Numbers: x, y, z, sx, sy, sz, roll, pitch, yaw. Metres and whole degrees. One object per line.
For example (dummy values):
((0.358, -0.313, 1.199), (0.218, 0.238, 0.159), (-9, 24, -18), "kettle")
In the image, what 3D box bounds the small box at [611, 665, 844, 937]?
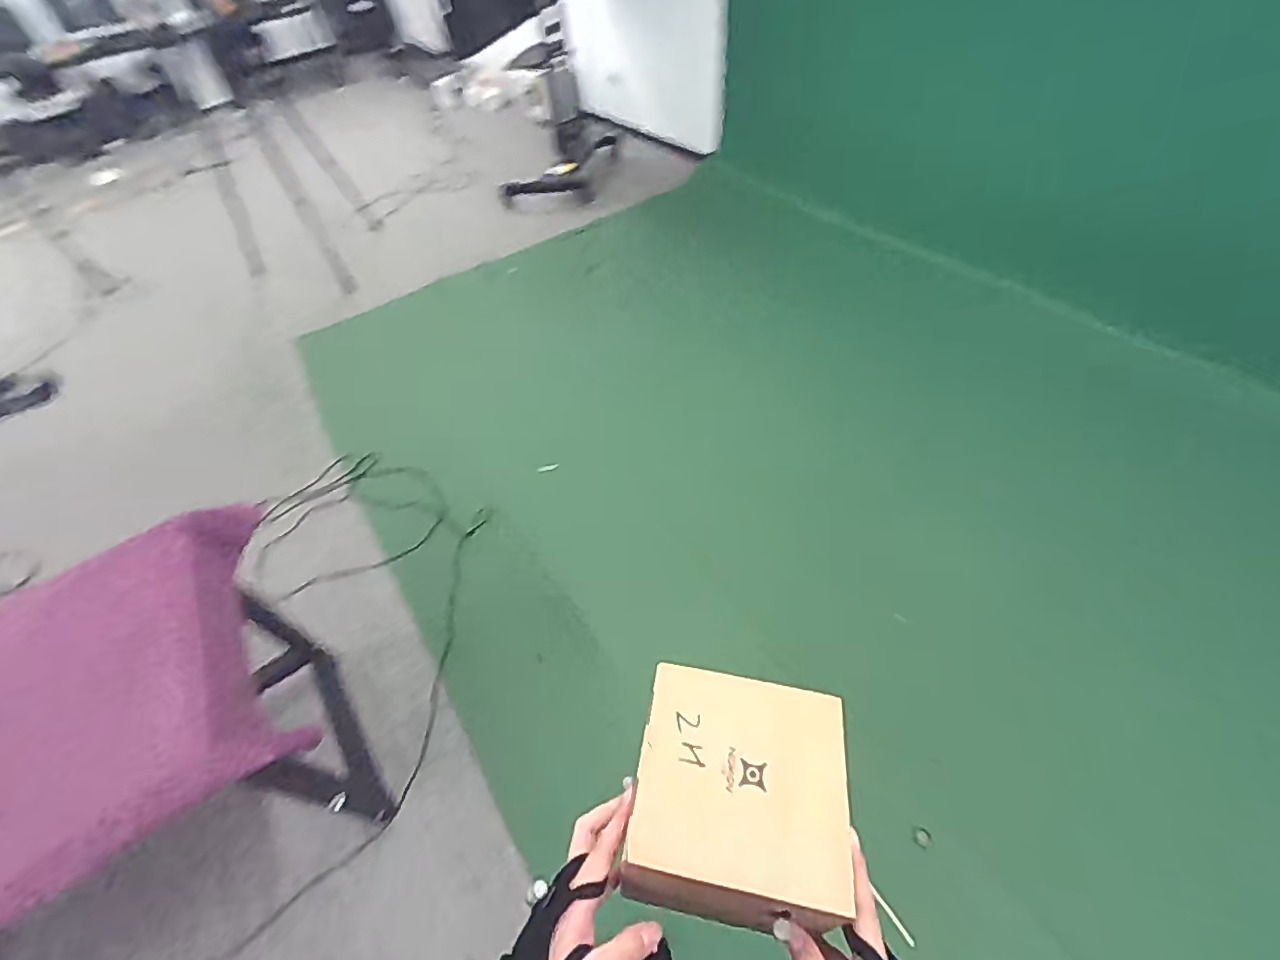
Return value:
((0.074, 0.303, 0.509), (0.179, 0.176, 0.168), (8, 44, 6), "small box")
